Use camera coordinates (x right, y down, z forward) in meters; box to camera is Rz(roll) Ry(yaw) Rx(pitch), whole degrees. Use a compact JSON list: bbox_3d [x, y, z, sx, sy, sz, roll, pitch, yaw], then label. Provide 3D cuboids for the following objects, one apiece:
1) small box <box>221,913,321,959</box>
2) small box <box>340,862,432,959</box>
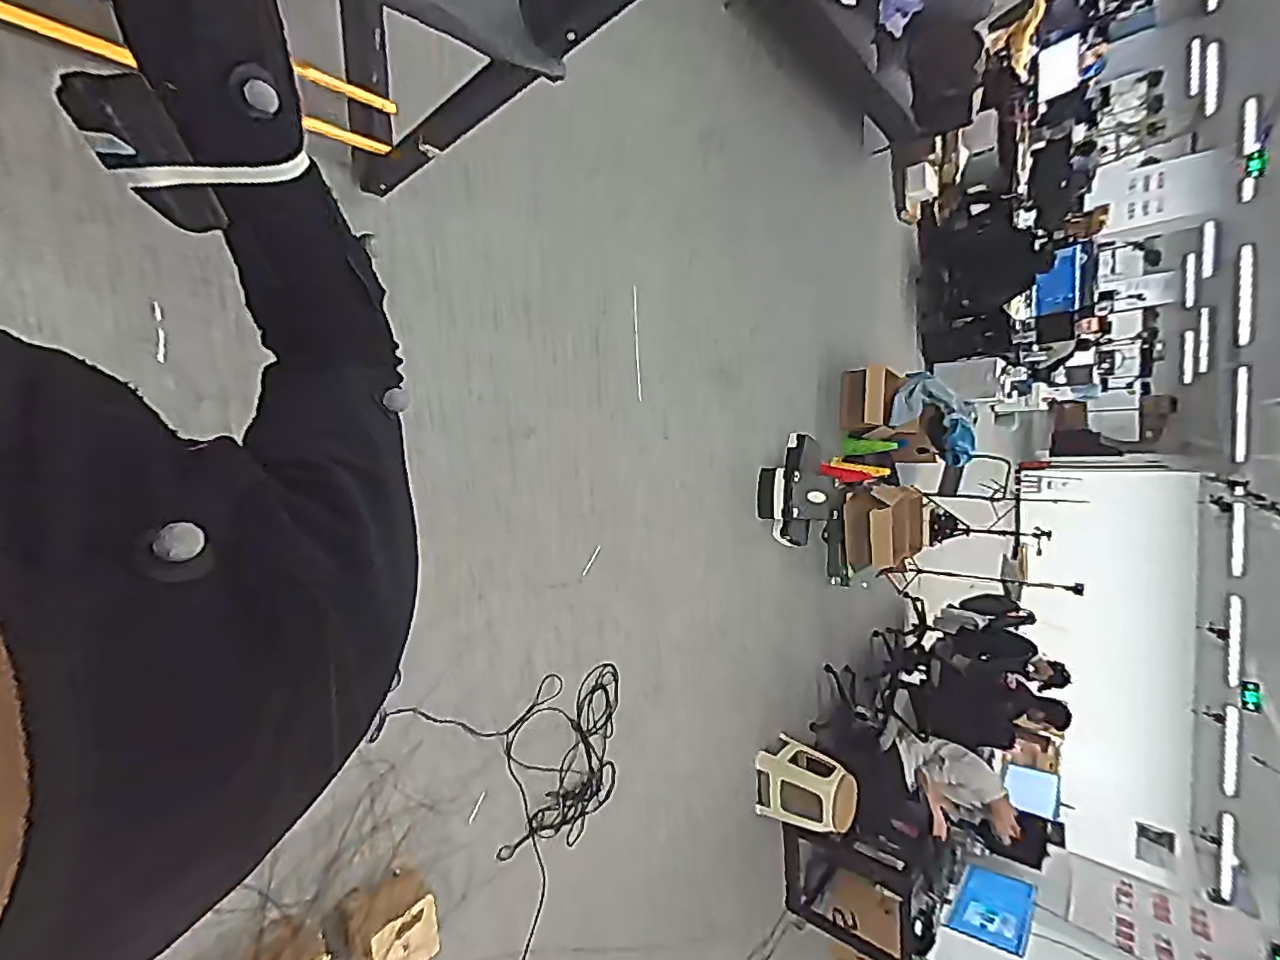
[{"bbox_3d":[-0.854,1.179,1.262,0.168,0.176,0.179,-15,102,-48],"label":"small box"},{"bbox_3d":[-0.686,1.176,1.455,0.168,0.176,0.179,-11,100,-49],"label":"small box"}]
